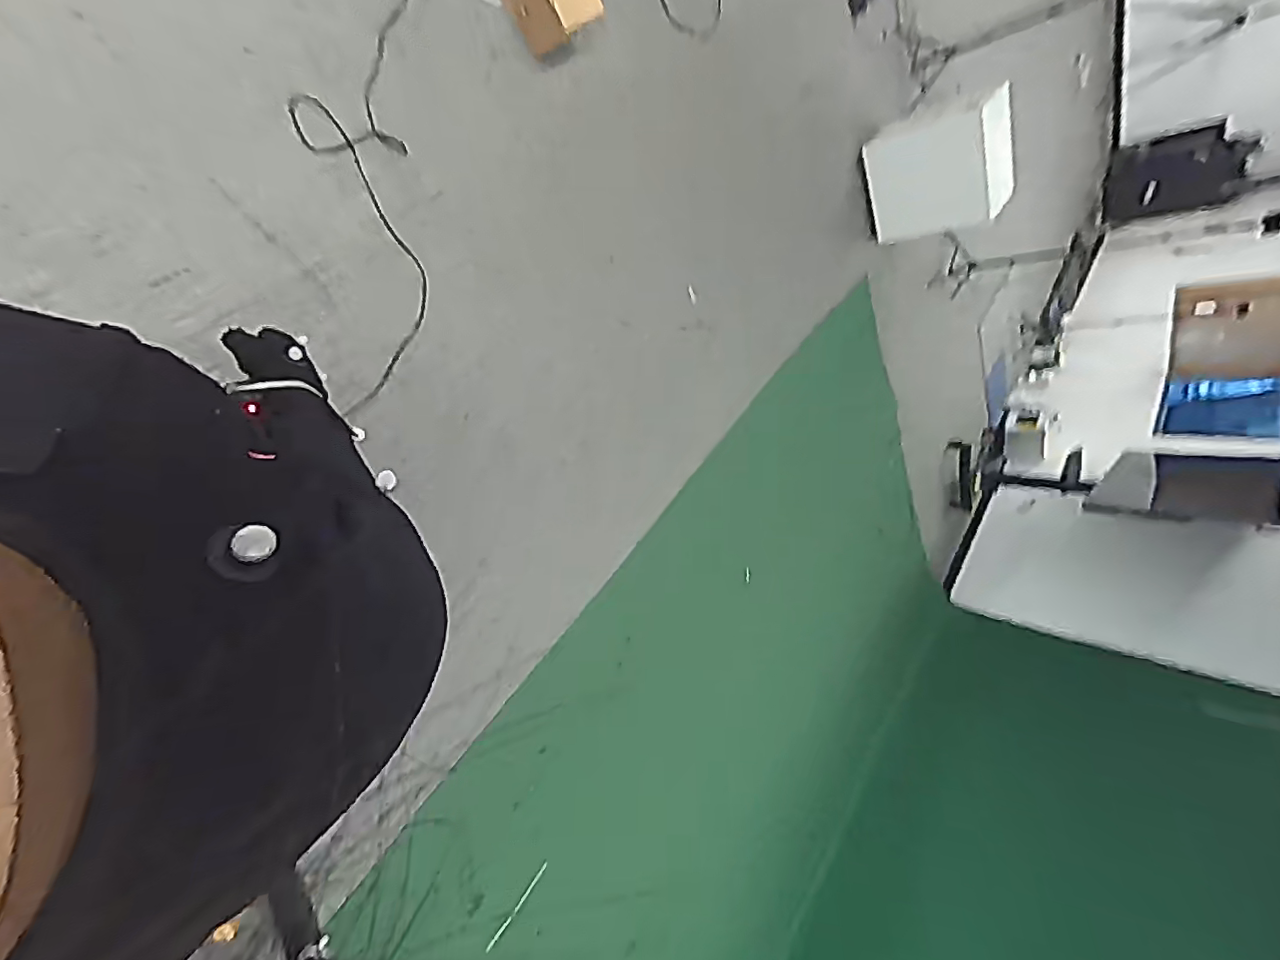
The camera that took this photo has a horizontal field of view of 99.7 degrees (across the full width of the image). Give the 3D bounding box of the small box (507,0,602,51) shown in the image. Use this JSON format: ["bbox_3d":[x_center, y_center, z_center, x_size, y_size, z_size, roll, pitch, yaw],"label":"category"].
[{"bbox_3d":[-0.246,-1.352,1.511,0.179,0.176,0.168,-50,127,-25],"label":"small box"}]
